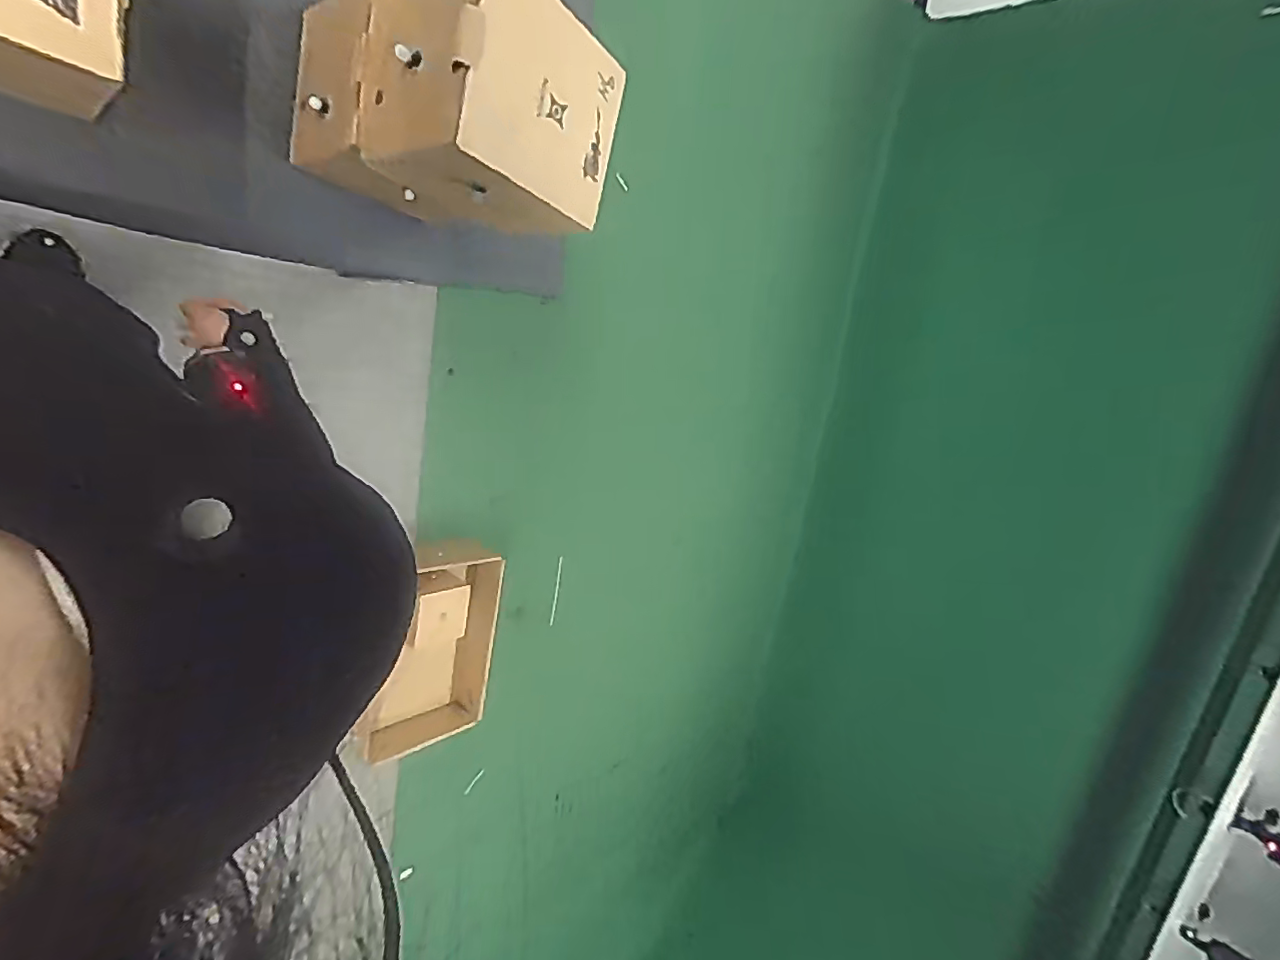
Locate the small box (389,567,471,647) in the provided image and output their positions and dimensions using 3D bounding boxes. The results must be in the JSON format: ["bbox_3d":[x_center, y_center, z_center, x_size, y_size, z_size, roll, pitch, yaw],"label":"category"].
[{"bbox_3d":[-0.641,0.374,1.642,0.168,0.176,0.179,-2,108,-50],"label":"small box"}]

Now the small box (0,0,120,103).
[{"bbox_3d":[-0.485,-0.388,0.364,0.179,0.176,0.168,-3,106,-50],"label":"small box"}]

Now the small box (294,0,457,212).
[{"bbox_3d":[-0.271,-0.424,0.625,0.179,0.176,0.168,0,105,-53],"label":"small box"}]

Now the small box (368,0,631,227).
[{"bbox_3d":[-0.141,-0.366,0.540,0.179,0.176,0.168,5,101,-52],"label":"small box"}]
